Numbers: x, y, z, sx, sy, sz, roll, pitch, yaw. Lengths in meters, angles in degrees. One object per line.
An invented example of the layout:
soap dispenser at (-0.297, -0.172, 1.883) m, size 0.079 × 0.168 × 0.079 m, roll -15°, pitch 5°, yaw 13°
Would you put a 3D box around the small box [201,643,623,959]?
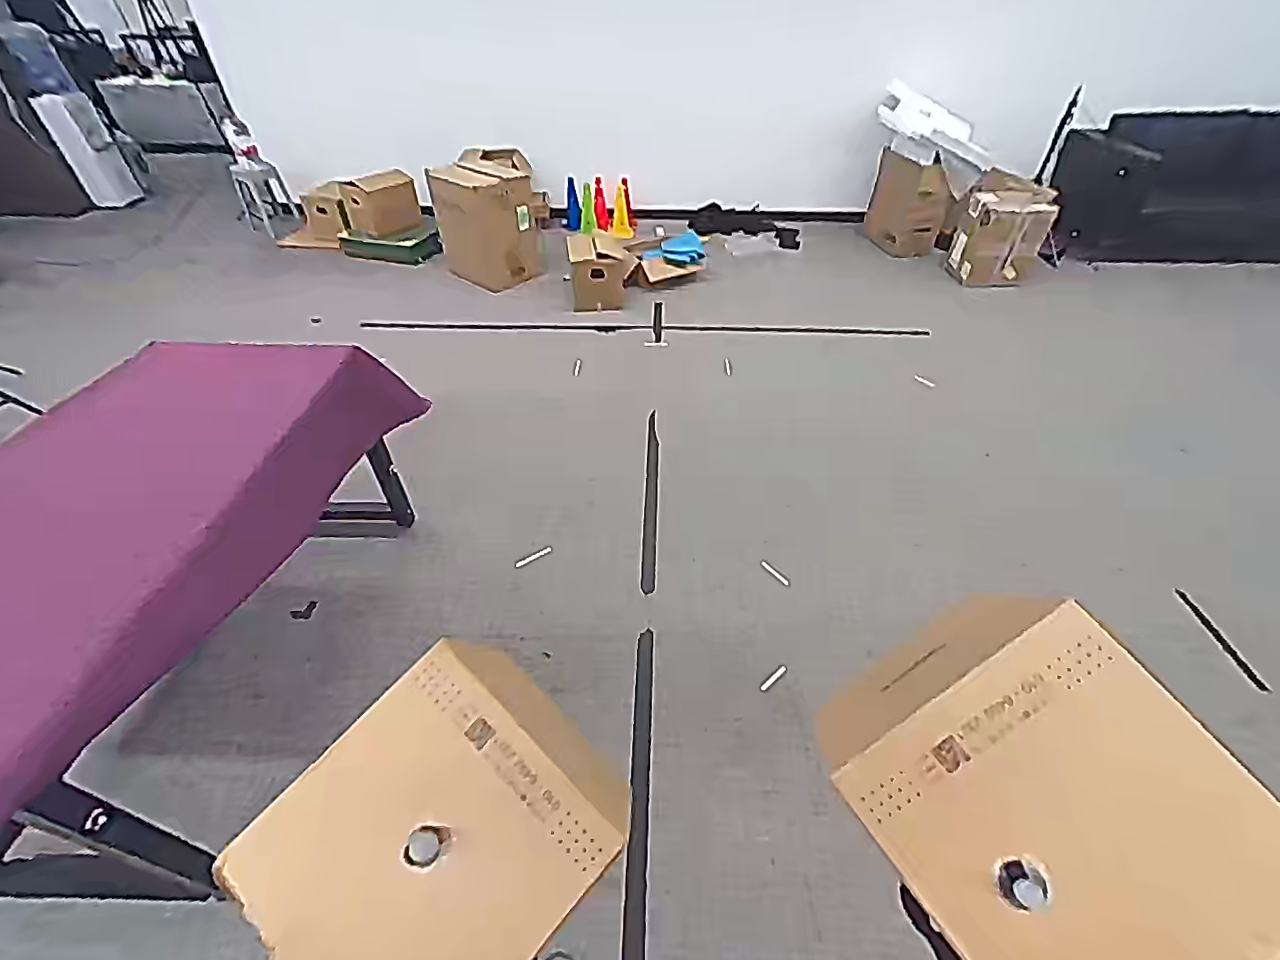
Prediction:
small box at (-0.124, 0.231, 0.372) m, size 0.168 × 0.179 × 0.176 m, roll 40°, pitch 73°, yaw 13°
